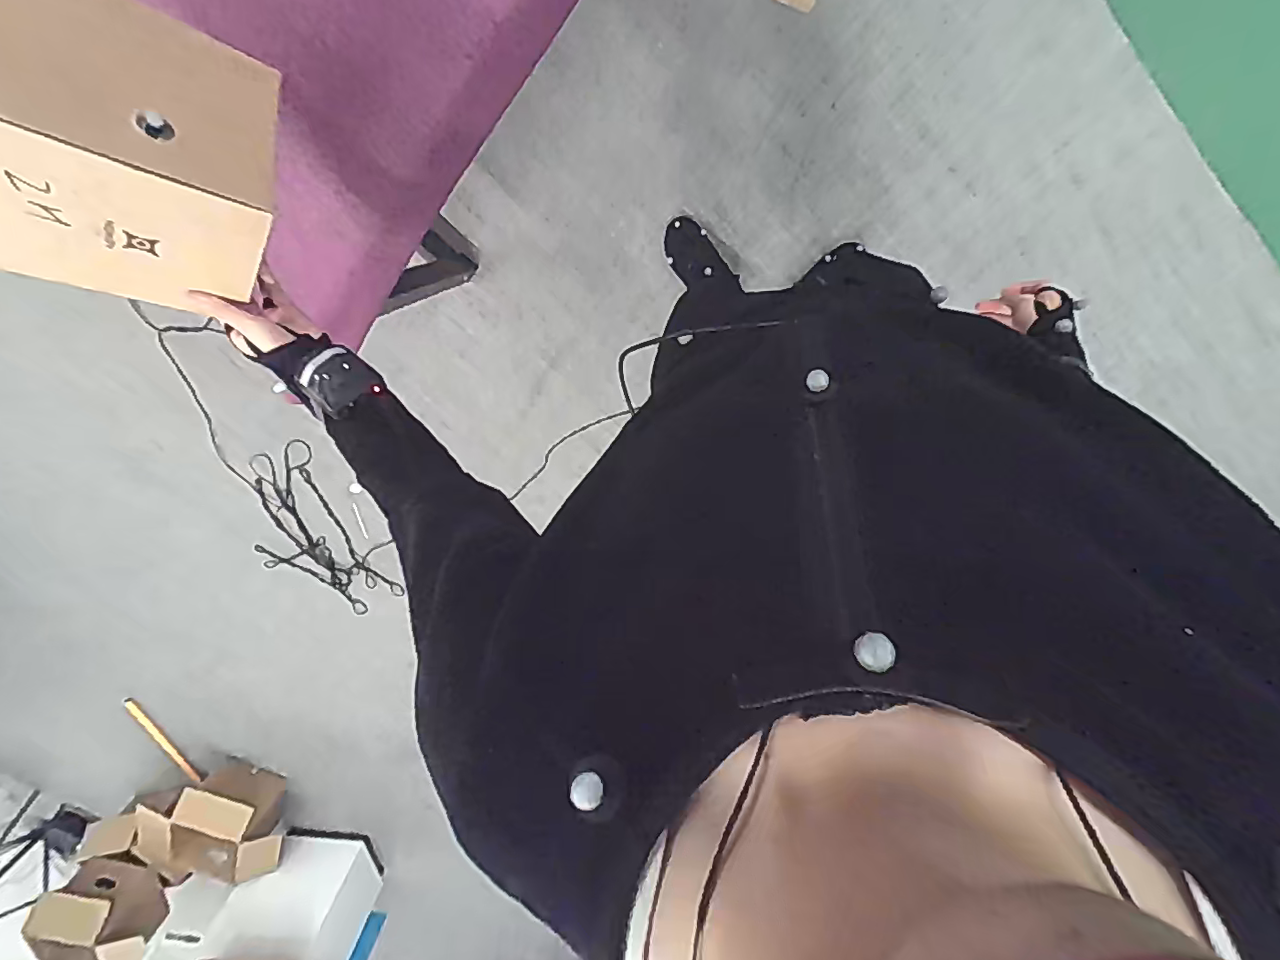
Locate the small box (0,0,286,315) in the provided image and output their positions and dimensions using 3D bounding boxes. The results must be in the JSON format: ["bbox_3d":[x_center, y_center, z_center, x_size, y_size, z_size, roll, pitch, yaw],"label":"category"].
[{"bbox_3d":[-0.411,-0.272,0.448,0.179,0.176,0.168,7,157,-43],"label":"small box"}]
